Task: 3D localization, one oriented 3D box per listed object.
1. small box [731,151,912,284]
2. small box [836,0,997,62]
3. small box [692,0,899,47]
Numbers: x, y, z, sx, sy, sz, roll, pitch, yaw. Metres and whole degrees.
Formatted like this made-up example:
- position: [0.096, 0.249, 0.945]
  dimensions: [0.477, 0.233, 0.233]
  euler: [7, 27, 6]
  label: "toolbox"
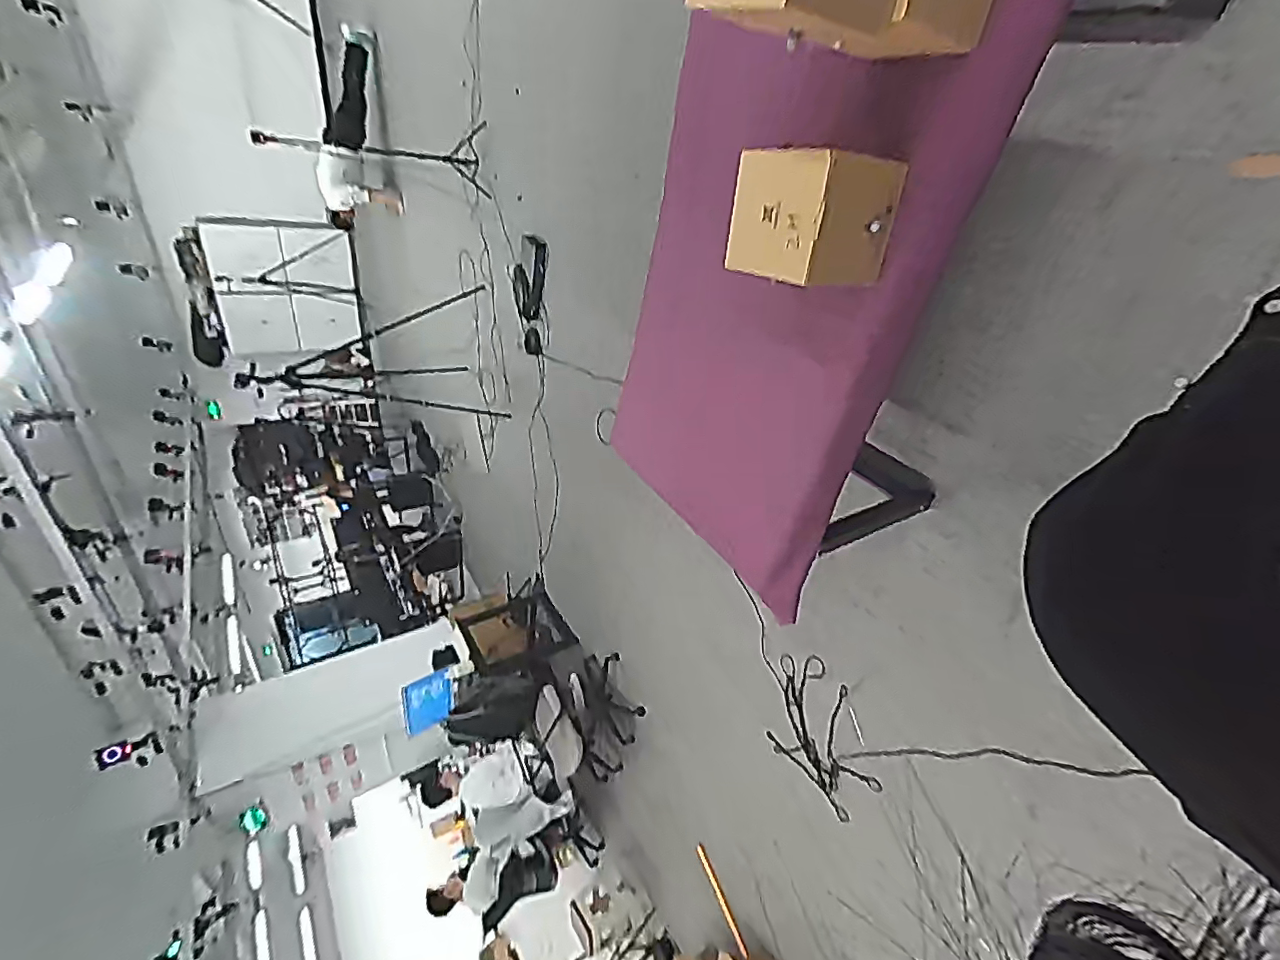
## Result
- position: [0.270, -0.398, 0.826]
  dimensions: [0.179, 0.176, 0.168]
  euler: [39, 133, 46]
  label: "small box"
- position: [0.326, -0.631, 0.648]
  dimensions: [0.168, 0.176, 0.179]
  euler: [41, 134, 44]
  label: "small box"
- position: [0.185, -0.592, 0.574]
  dimensions: [0.168, 0.176, 0.179]
  euler: [46, 139, 39]
  label: "small box"
